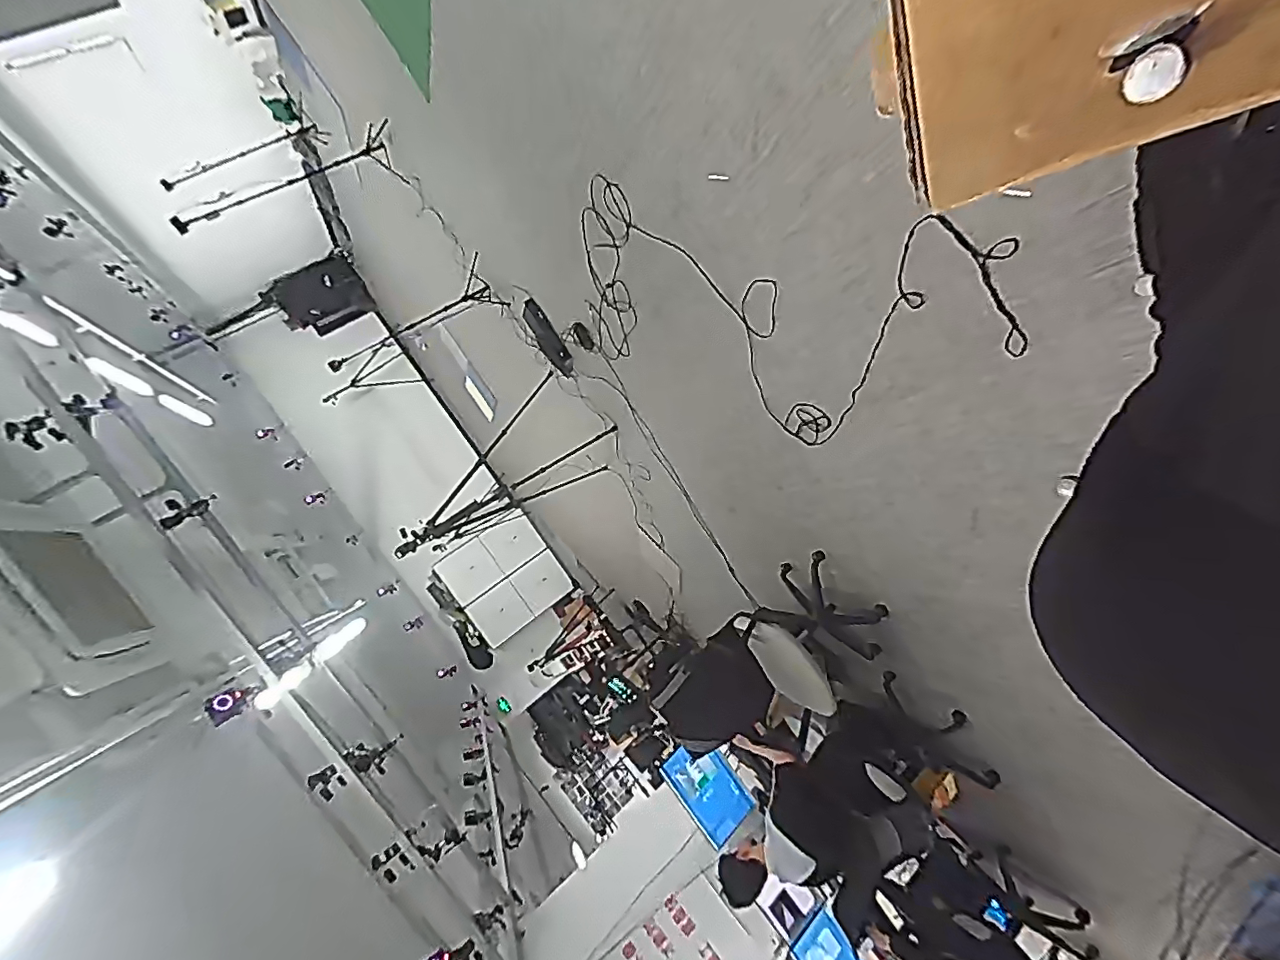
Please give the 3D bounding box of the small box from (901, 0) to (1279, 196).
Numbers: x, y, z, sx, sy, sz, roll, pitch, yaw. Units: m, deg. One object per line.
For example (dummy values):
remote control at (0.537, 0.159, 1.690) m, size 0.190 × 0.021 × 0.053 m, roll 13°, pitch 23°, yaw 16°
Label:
small box at (0.168, -0.226, 0.160) m, size 0.176 × 0.179 × 0.168 m, roll -9°, pitch 88°, yaw 31°
